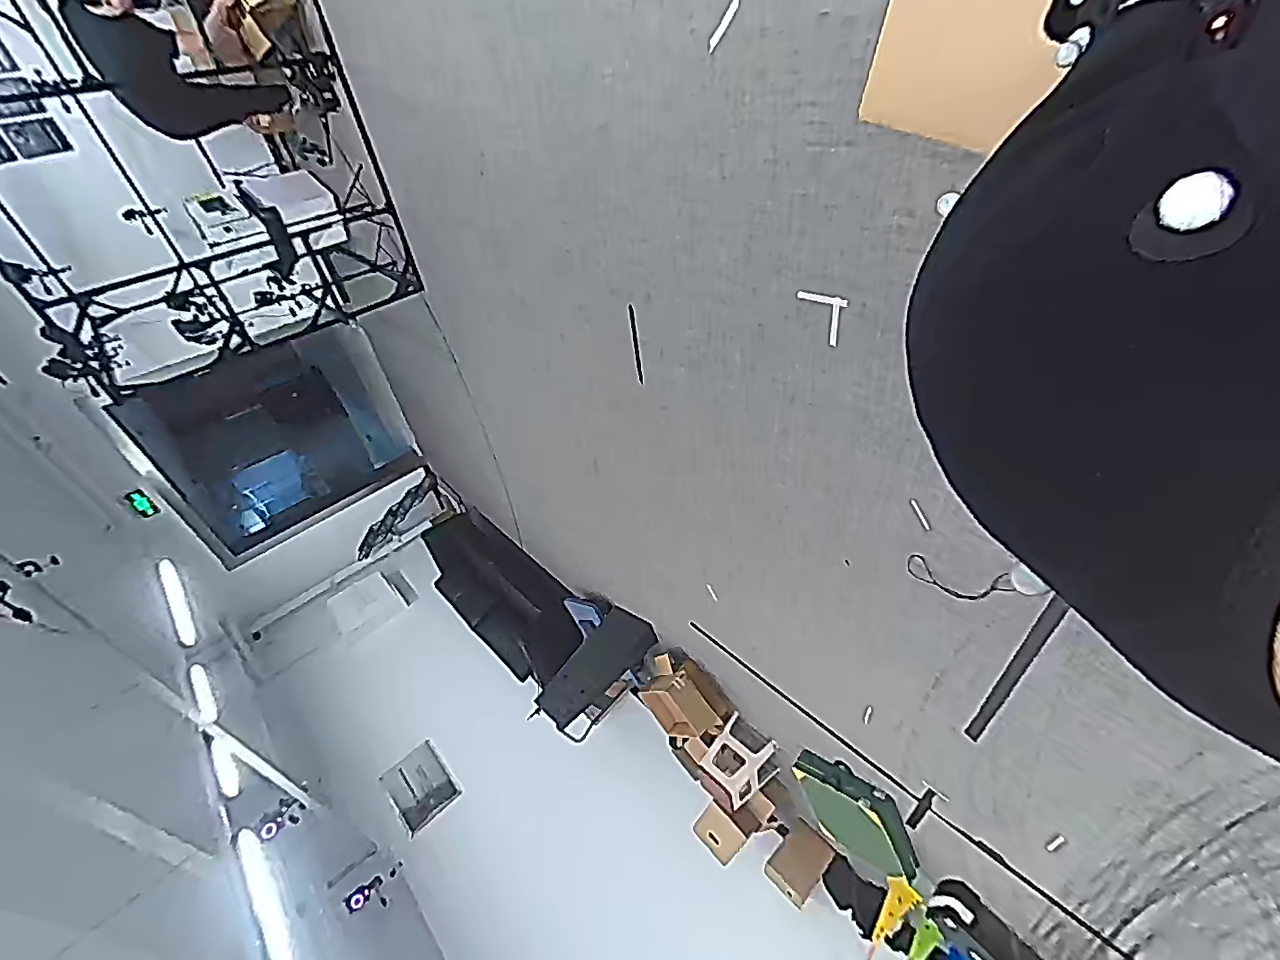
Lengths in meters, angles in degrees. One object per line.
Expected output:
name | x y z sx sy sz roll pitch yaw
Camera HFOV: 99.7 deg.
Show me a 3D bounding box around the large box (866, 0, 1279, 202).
large box | 0.560 -0.569 0.646 0.320 0.408 0.320 49 150 35
